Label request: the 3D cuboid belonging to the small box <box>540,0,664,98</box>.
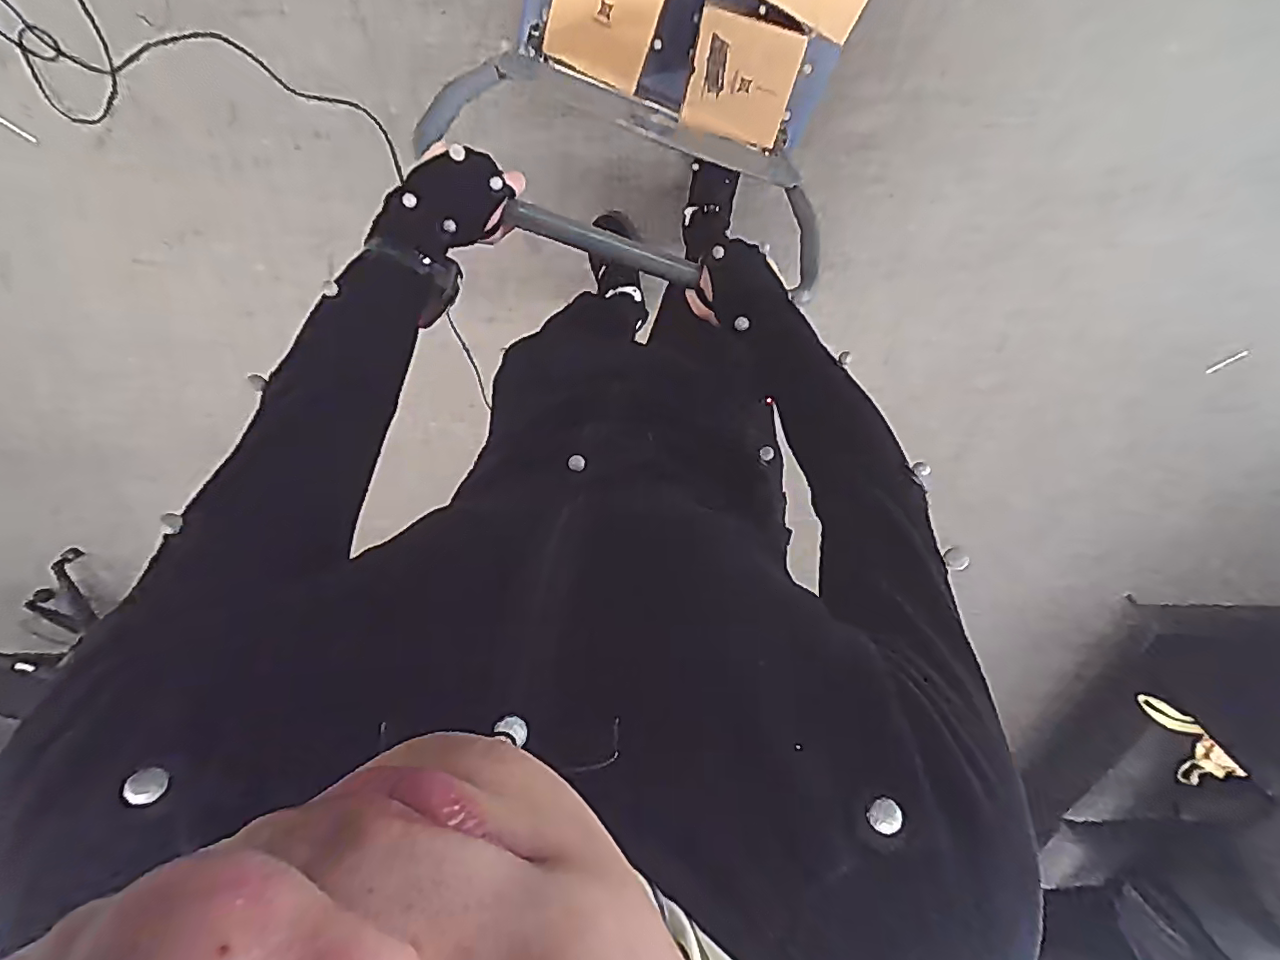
[{"bbox_3d":[-0.055,-0.797,0.913,0.168,0.176,0.179,19,135,-13],"label":"small box"}]
